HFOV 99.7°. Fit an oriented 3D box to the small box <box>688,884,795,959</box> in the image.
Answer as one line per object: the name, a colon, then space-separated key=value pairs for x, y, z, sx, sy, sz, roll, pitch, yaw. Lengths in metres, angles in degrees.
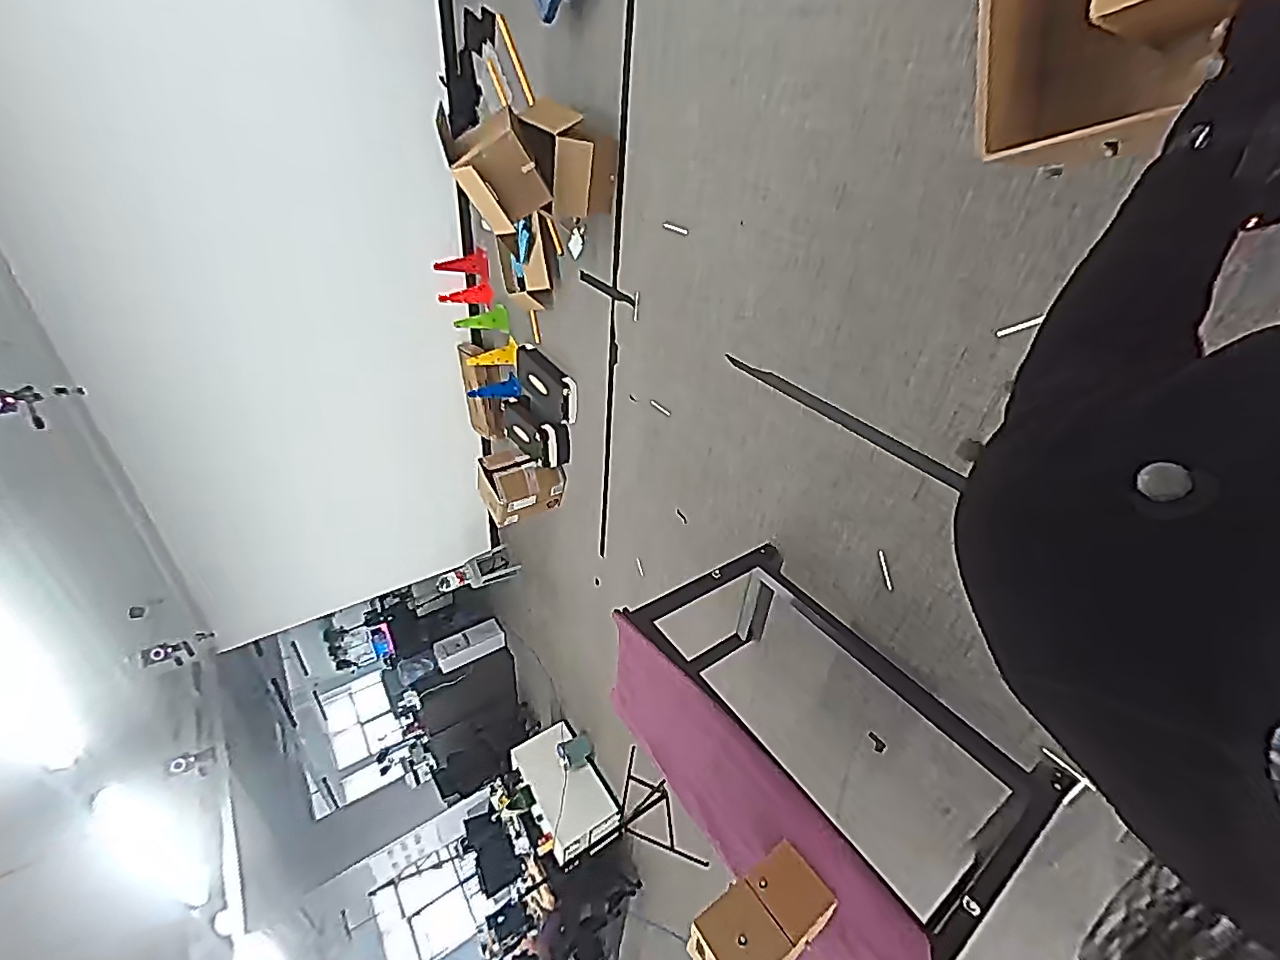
small box: x=0.242 y=1.126 z=1.303 sx=0.179 sy=0.176 sz=0.168 roll=38 pitch=137 yaw=43

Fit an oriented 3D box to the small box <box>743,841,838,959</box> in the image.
small box: x=0.377 y=1.085 z=1.388 sx=0.179 sy=0.176 sz=0.168 roll=39 pitch=137 yaw=43
